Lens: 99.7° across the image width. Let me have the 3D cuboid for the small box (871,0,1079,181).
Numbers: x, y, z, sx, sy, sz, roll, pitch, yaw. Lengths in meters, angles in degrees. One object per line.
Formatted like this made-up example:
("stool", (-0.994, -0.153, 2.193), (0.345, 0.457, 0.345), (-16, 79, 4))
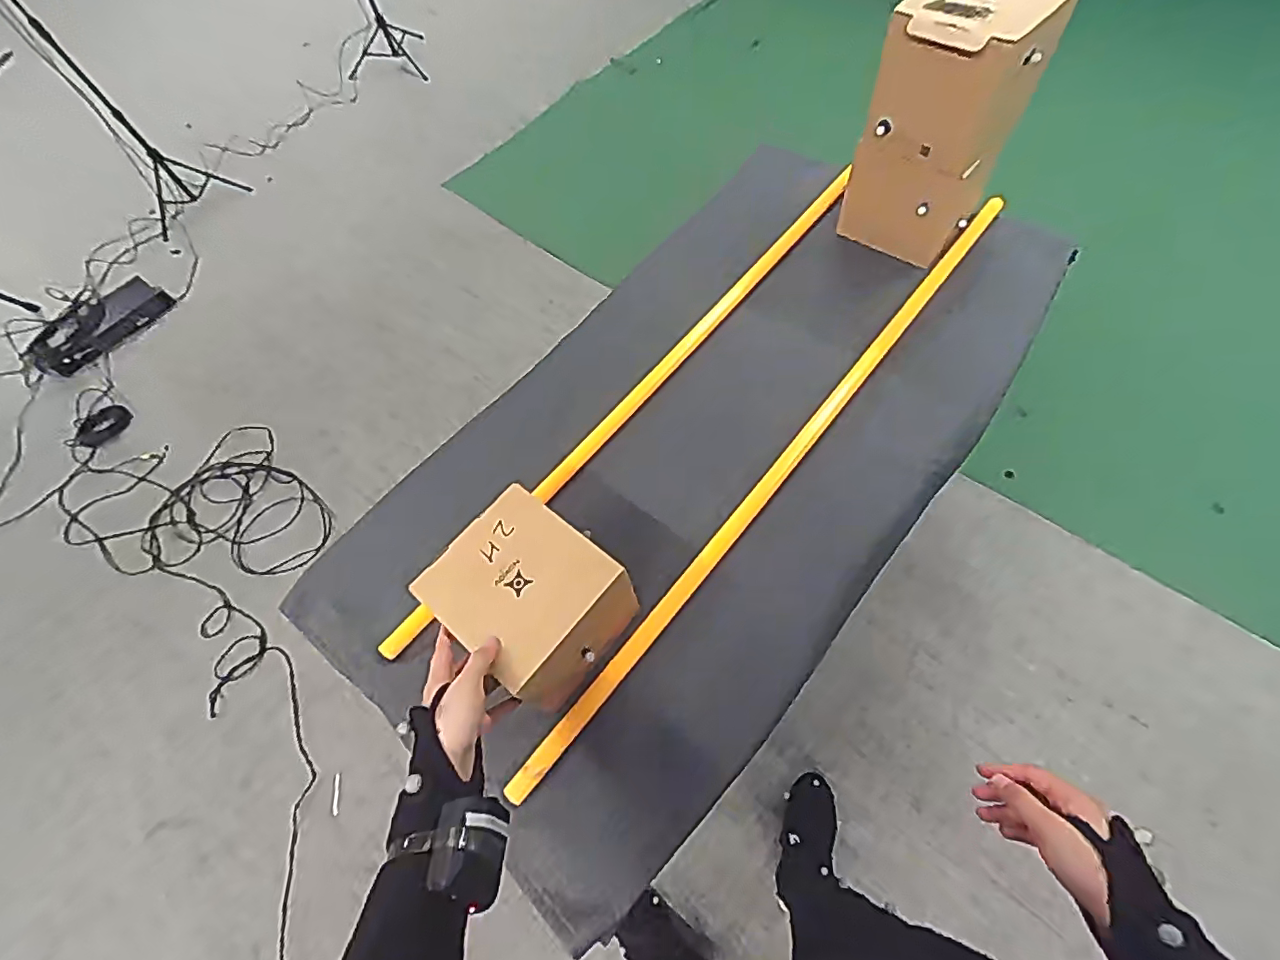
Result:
("small box", (0.452, -0.563, 0.764), (0.168, 0.176, 0.179), (40, 73, 23))

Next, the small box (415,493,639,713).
("small box", (-0.118, 0.153, 0.641), (0.179, 0.176, 0.168), (35, 70, 23))
